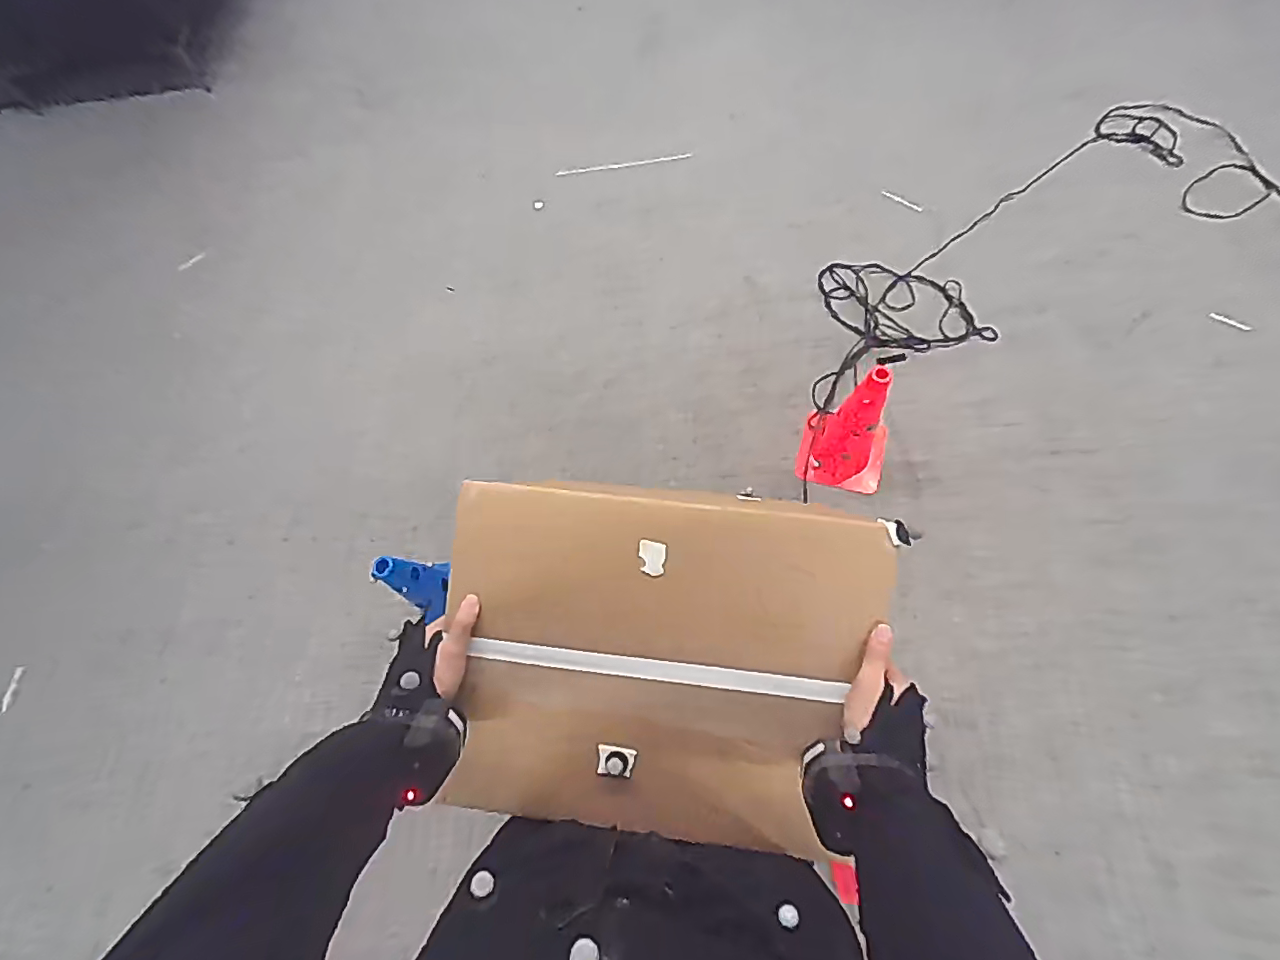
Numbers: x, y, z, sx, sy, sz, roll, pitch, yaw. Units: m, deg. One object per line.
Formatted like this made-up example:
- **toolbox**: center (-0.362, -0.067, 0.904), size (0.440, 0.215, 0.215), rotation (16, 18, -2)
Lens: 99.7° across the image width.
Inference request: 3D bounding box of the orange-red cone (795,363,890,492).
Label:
- **orange-red cone**: center (0.483, -0.143, 1.194), size (0.199, 0.360, 0.198), rotation (15, 70, 12)

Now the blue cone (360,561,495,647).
- **blue cone**: center (-0.471, 0.240, 1.172), size (0.192, 0.380, 0.193), rotation (-4, 66, 6)

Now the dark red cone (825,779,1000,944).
- **dark red cone**: center (0.440, 0.615, 0.843), size (0.202, 0.394, 0.201), rotation (-11, 68, 3)
